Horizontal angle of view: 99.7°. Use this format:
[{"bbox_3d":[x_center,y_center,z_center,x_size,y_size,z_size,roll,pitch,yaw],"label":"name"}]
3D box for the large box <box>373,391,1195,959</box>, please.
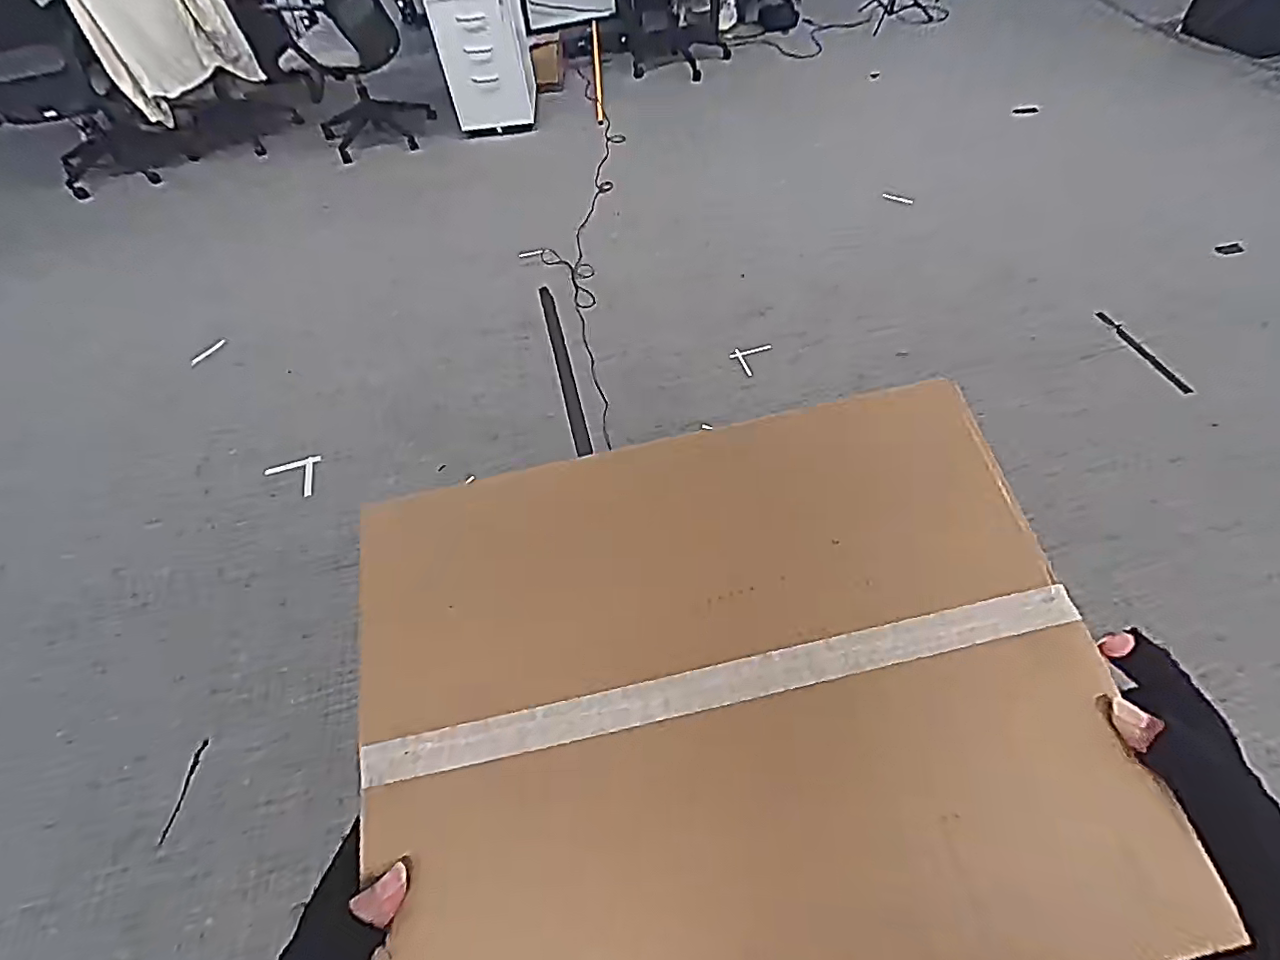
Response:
[{"bbox_3d":[0.057,0.175,0.448,0.408,0.320,0.320,-13,66,-1],"label":"large box"}]
